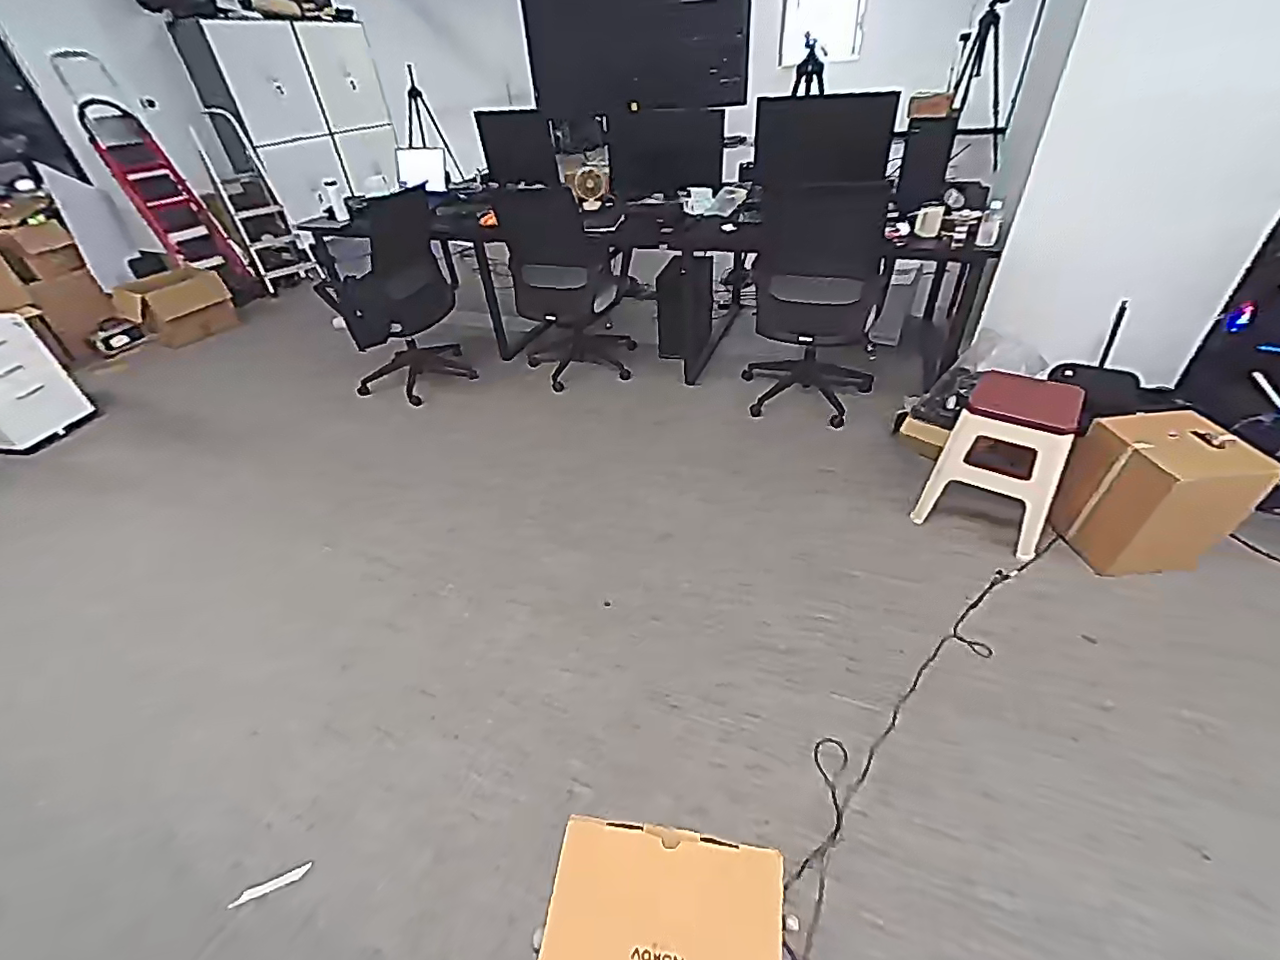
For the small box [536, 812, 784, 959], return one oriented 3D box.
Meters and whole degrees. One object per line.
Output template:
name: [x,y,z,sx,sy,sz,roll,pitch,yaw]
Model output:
small box: [0.019,0.379,0.409,0.168,0.176,0.179,3,49,11]
